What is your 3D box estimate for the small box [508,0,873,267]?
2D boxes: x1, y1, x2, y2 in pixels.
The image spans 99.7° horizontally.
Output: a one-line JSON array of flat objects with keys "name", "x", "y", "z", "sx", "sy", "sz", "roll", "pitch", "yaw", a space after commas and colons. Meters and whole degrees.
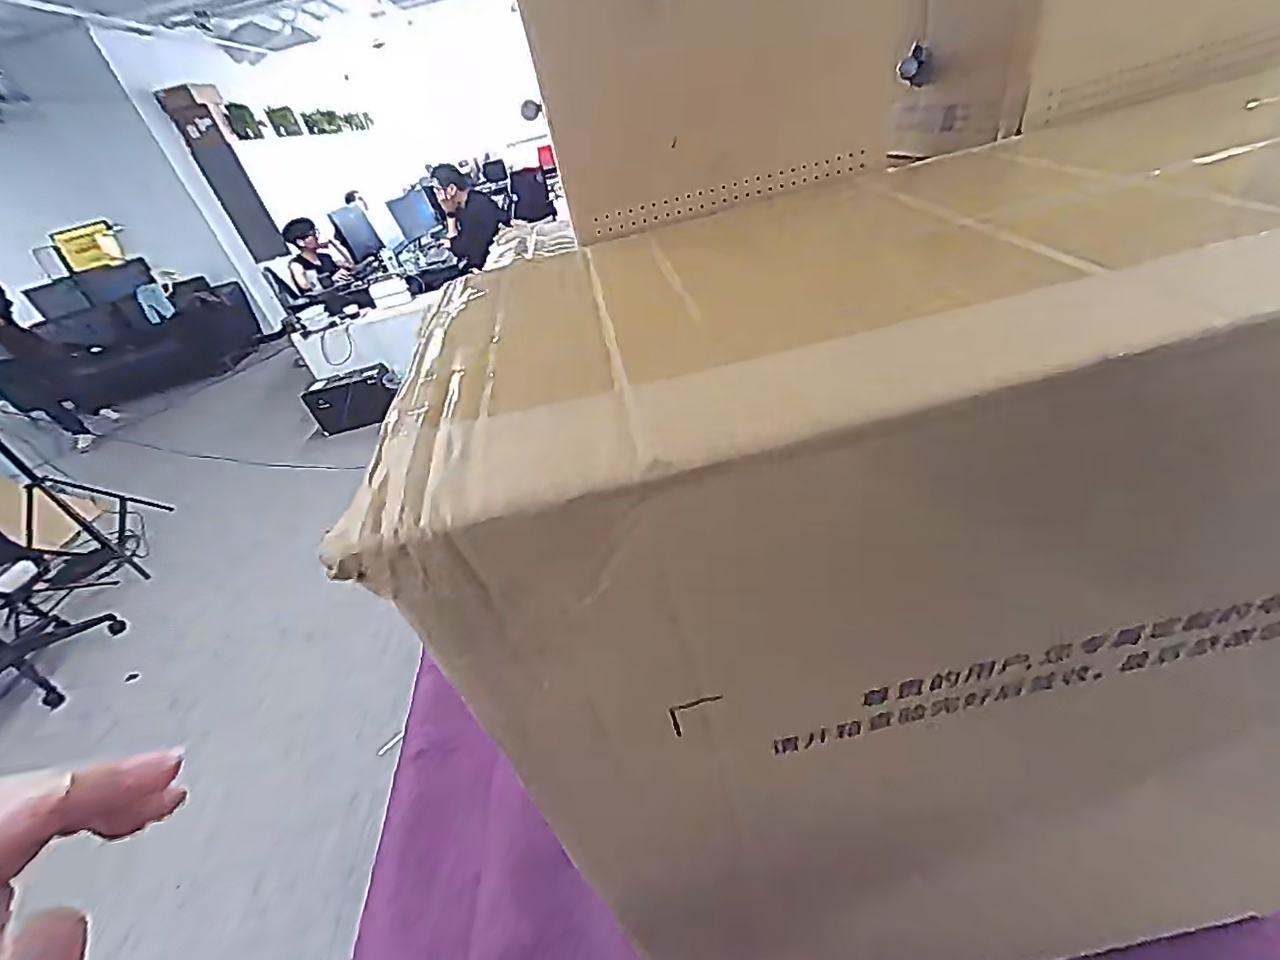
[{"name": "small box", "x": 0.024, "y": -0.242, "z": 0.323, "sx": 0.179, "sy": 0.176, "sz": 0.168, "roll": -13, "pitch": 36, "yaw": -1}]
